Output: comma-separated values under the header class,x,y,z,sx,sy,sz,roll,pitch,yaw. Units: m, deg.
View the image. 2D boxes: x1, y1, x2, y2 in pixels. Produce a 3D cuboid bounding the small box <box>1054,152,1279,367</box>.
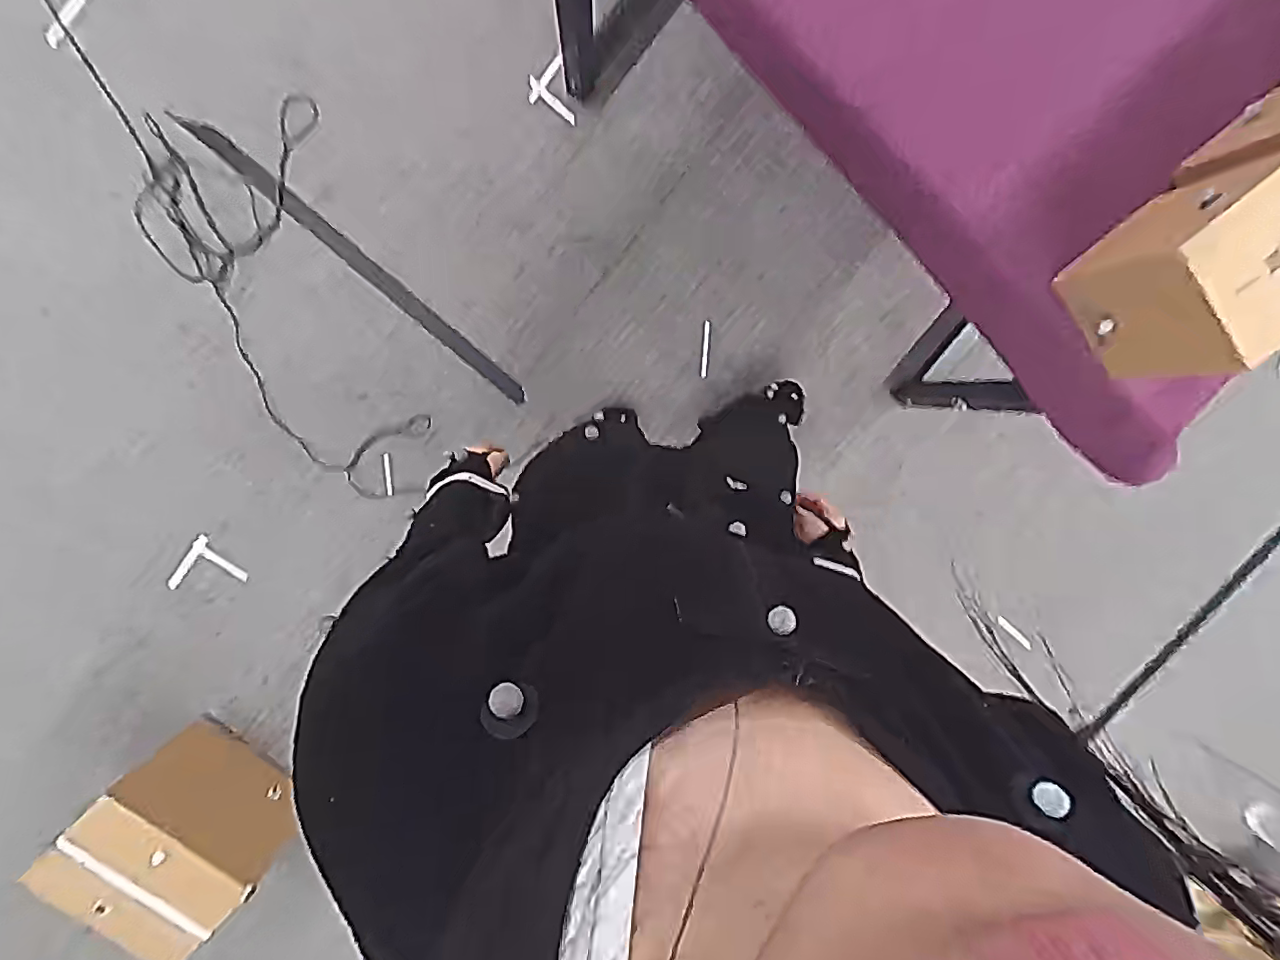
class,x,y,z,sx,sy,sz,roll,pitch,yaw
small box,0.673,-0.256,0.660,0.179,0.176,0.168,-39,99,3
